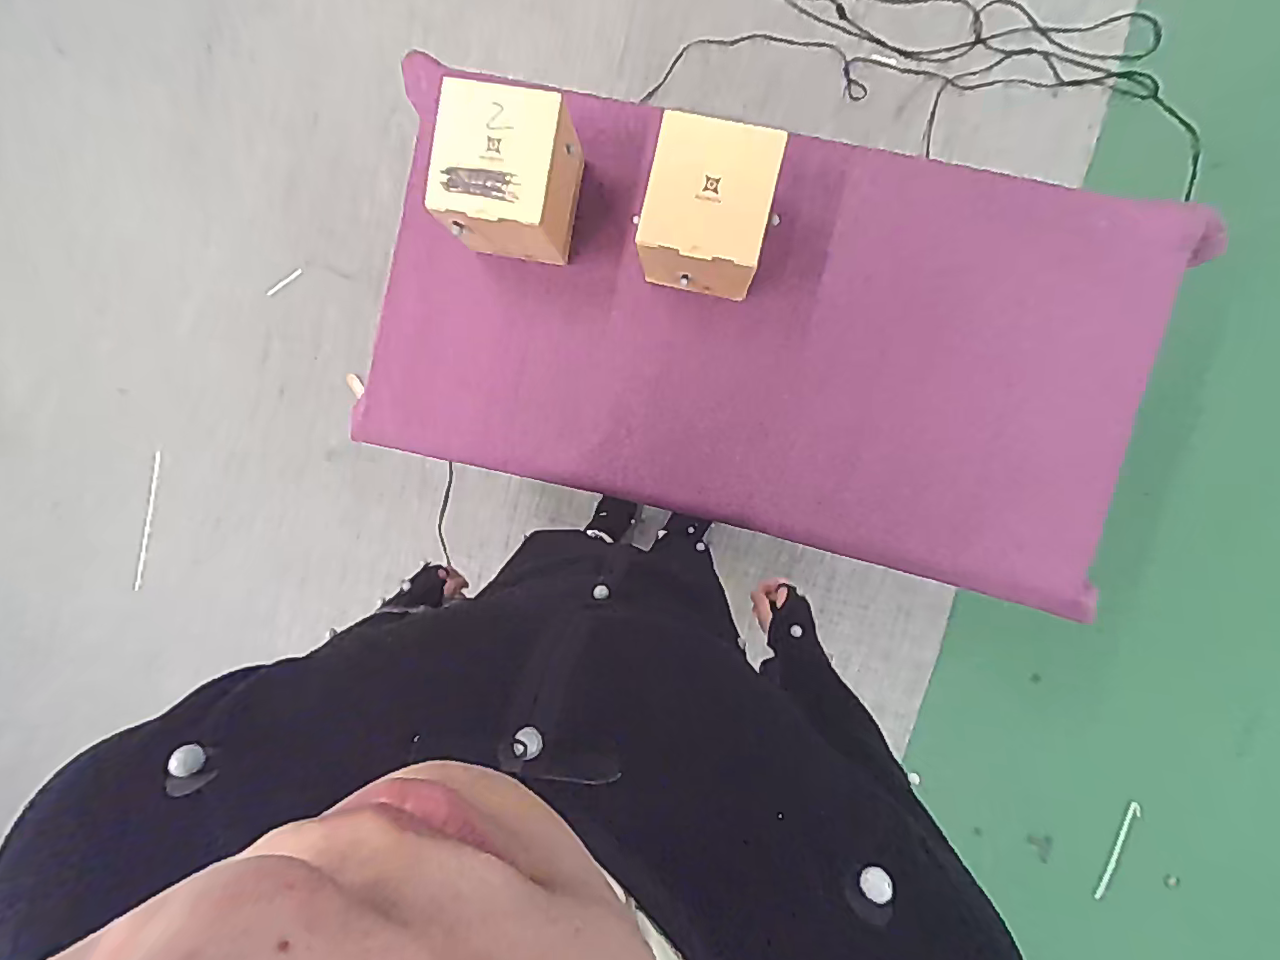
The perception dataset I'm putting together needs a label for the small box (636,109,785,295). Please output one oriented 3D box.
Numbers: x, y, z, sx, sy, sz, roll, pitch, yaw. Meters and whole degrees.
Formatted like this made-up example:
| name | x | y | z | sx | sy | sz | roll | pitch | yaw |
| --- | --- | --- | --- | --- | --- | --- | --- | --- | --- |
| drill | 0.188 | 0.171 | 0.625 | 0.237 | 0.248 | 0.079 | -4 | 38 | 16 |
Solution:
| name | x | y | z | sx | sy | sz | roll | pitch | yaw |
| --- | --- | --- | --- | --- | --- | --- | --- | --- | --- |
| small box | 0.098 | -0.391 | 0.790 | 0.168 | 0.176 | 0.179 | 13 | 96 | 4 |
